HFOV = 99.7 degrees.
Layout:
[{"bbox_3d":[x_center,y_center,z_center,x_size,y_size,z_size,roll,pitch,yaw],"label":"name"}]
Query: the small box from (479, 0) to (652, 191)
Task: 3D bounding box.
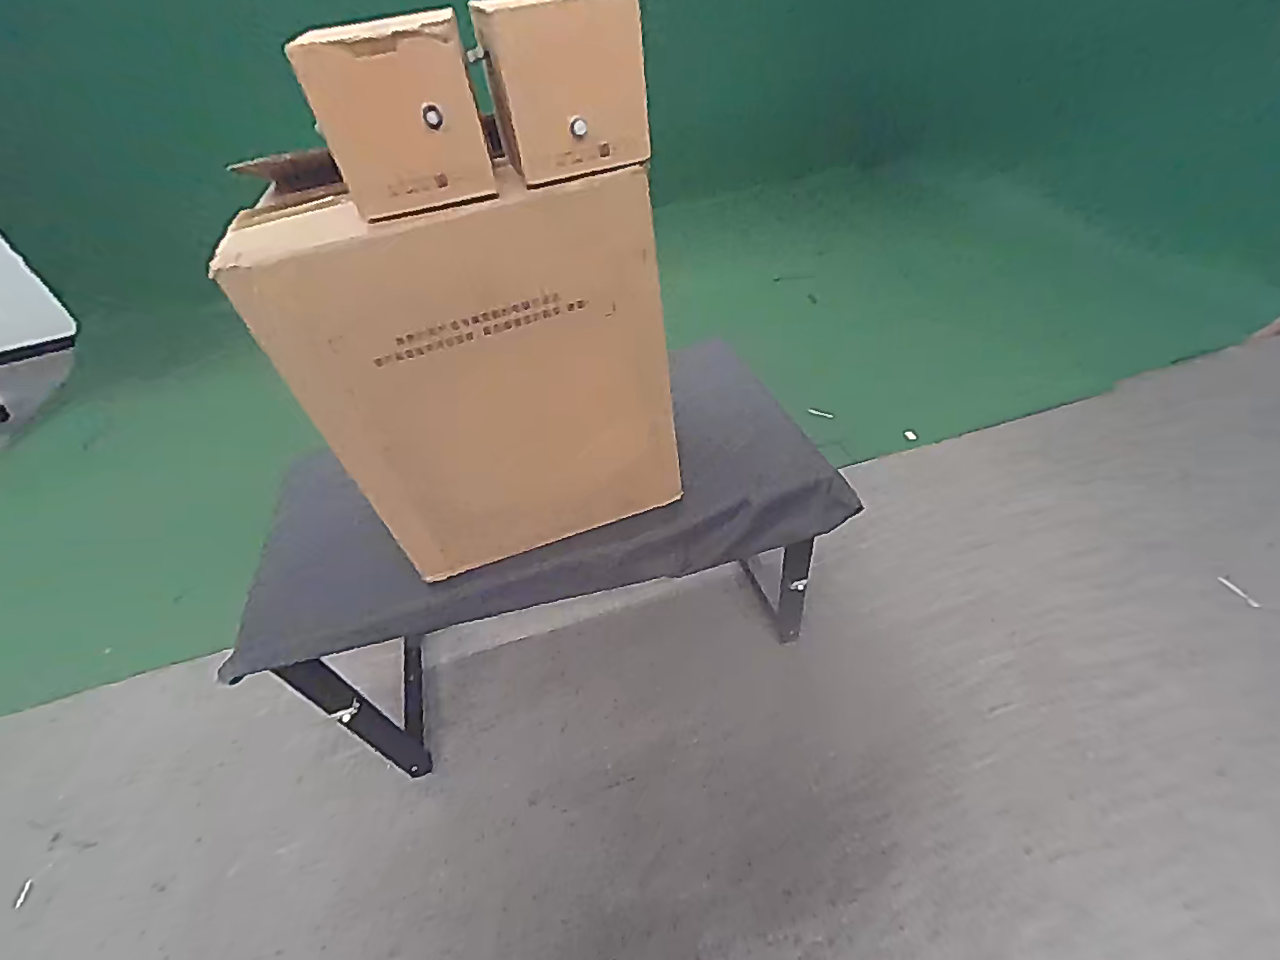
[{"bbox_3d":[-0.092,-0.487,0.685,0.168,0.176,0.179,-18,46,-9],"label":"small box"}]
